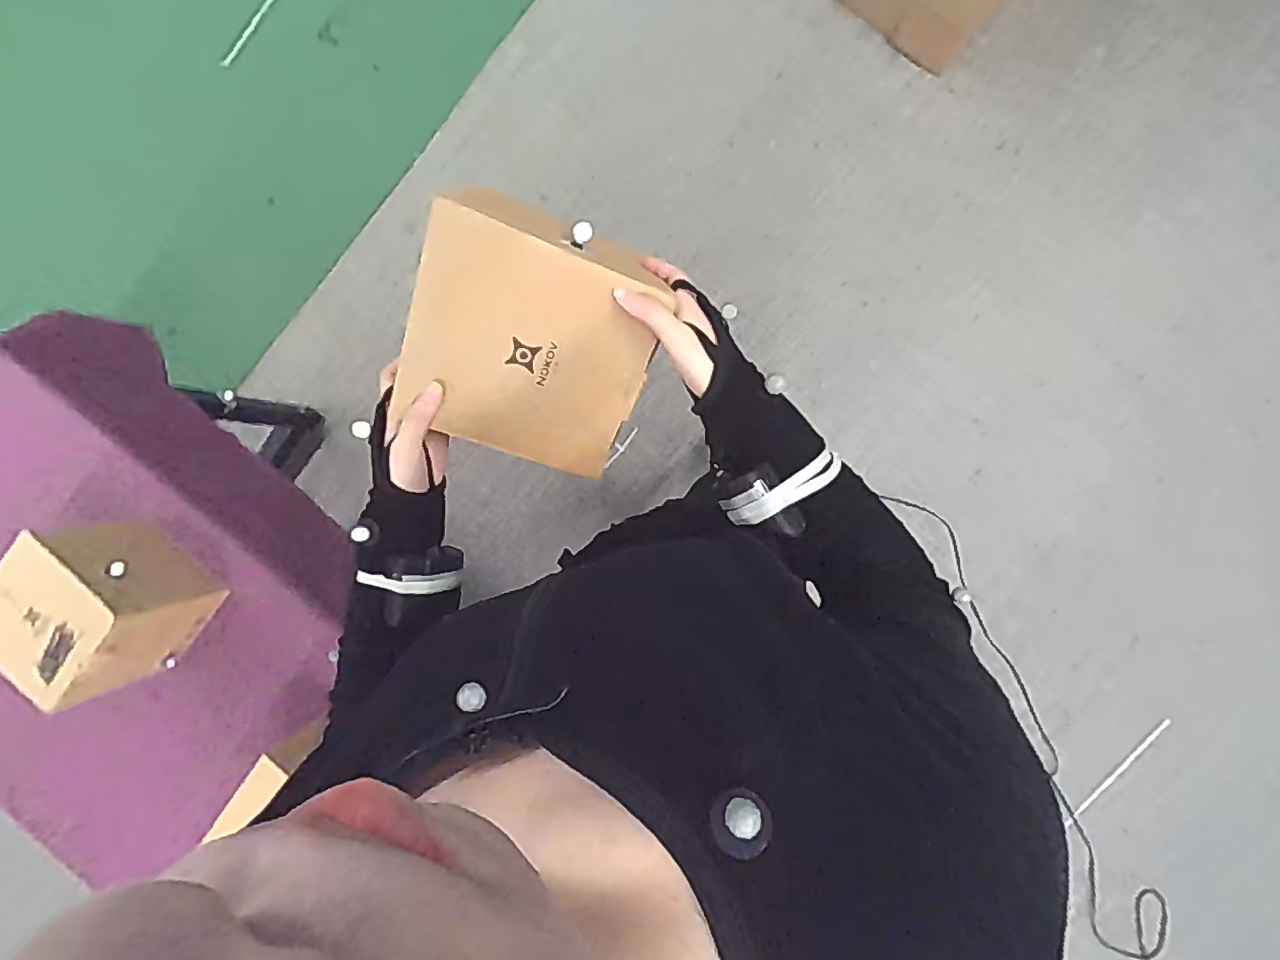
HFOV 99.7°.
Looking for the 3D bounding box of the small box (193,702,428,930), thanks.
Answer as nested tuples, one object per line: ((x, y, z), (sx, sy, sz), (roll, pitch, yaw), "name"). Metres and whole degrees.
((-0.436, 0.437, 0.742), (0.179, 0.176, 0.168), (37, 95, 4), "small box")

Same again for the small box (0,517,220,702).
((-0.761, 0.167, 0.768), (0.179, 0.176, 0.168), (40, 95, 4), "small box")
